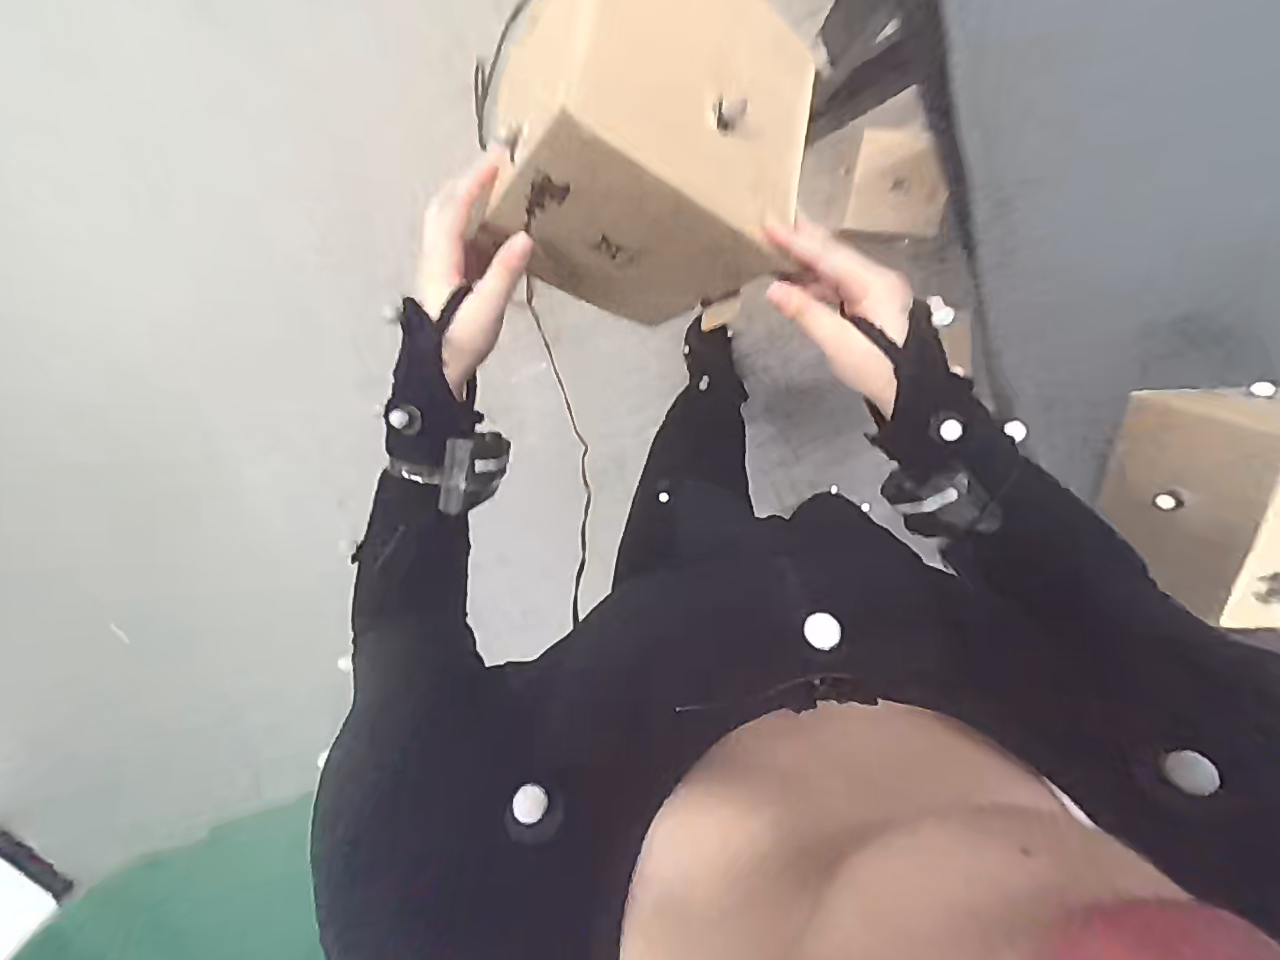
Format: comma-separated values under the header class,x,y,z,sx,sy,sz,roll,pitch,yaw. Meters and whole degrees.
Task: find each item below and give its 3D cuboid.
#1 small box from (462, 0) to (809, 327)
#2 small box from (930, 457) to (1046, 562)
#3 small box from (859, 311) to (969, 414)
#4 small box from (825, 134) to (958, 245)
class,x,y,z,sx,sy,sz,roll,pitch,yaw
small box,-0.001,-0.238,0.385,0.179,0.168,0.176,17,78,-32
small box,0.813,0.060,1.277,0.168,0.176,0.179,-19,109,13
small box,0.589,-0.260,1.177,0.168,0.176,0.179,-11,108,9
small box,0.481,-0.565,1.070,0.179,0.176,0.168,7,111,3
